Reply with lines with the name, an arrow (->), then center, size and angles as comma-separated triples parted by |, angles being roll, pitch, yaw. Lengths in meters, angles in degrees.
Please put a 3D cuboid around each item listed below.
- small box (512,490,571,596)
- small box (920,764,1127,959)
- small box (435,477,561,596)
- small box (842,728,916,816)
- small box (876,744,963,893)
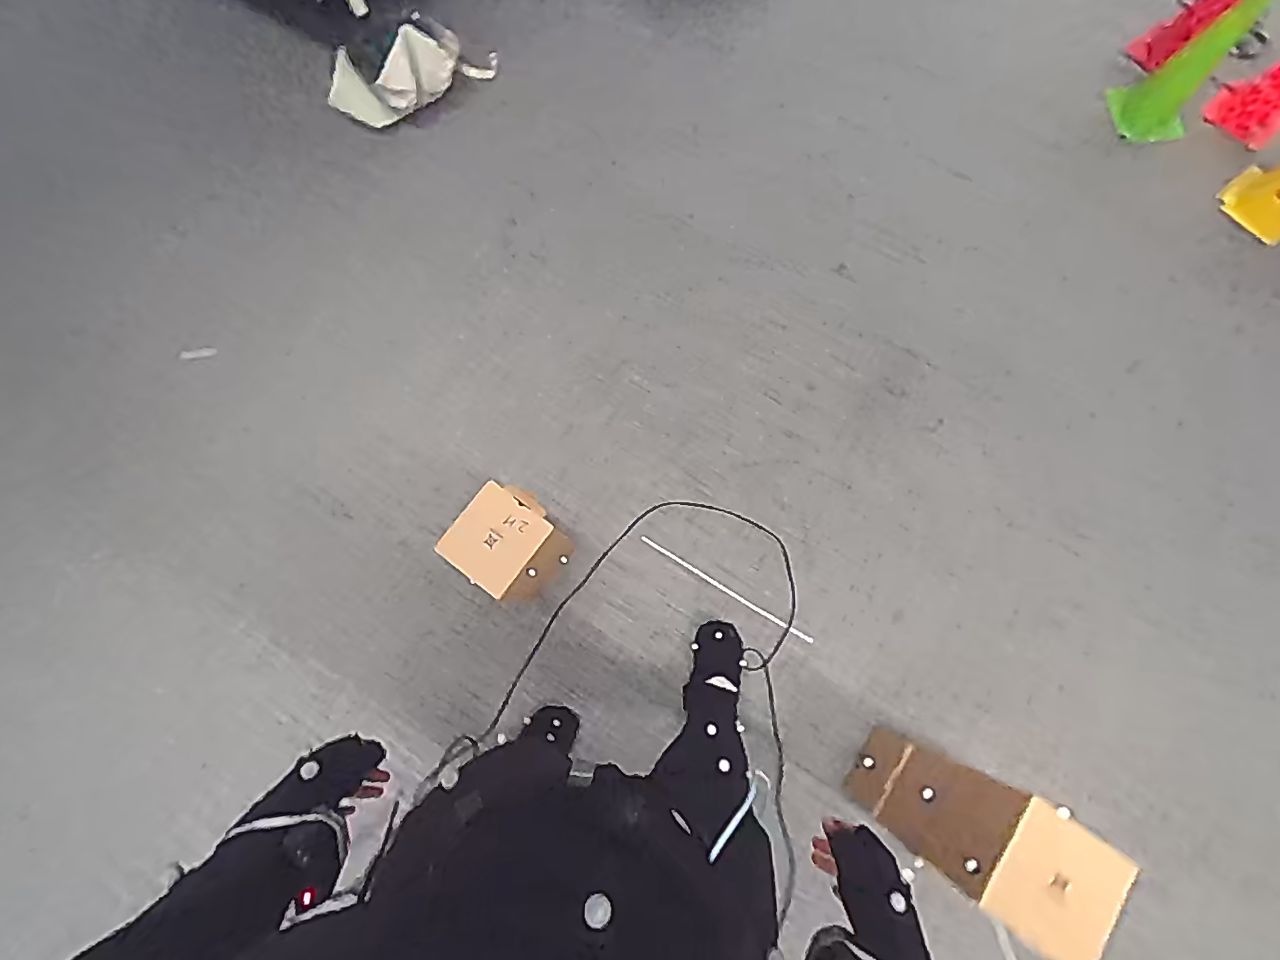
small box -> -0.278, 0.153, 1.264 | 0.168, 0.176, 0.179 | 38, 80, 9
small box -> 0.574, 0.580, 0.835 | 0.168, 0.176, 0.179 | 34, 80, 7
small box -> -0.280, 0.125, 1.119 | 0.168, 0.176, 0.179 | 36, 79, 9
small box -> 0.564, 0.655, 1.153 | 0.179, 0.176, 0.168 | 34, 80, 8
small box -> 0.570, 0.623, 0.992 | 0.168, 0.176, 0.179 | 35, 80, 7
